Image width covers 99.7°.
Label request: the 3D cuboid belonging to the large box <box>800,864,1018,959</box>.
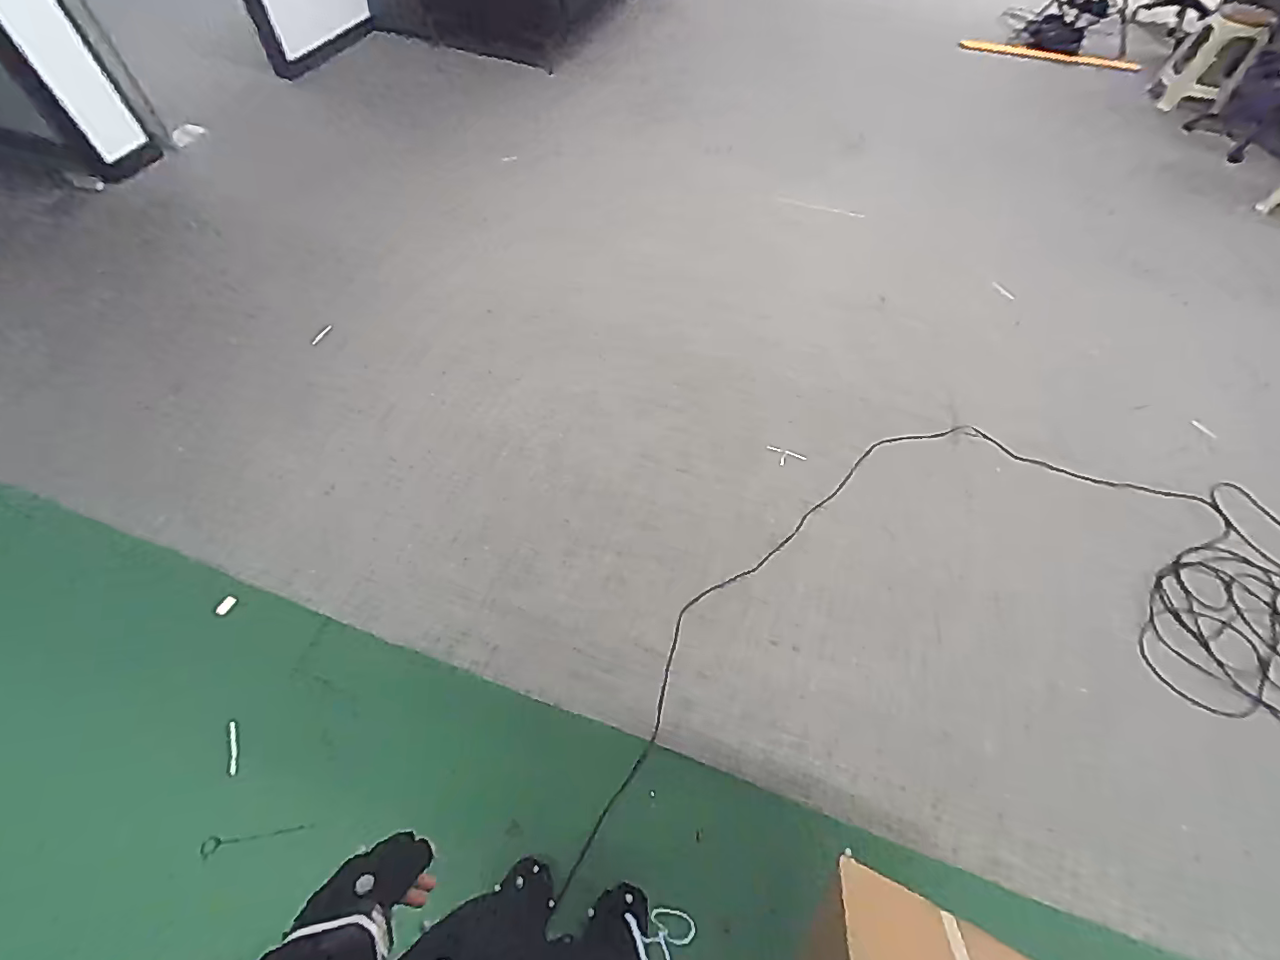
[{"bbox_3d":[0.337,0.779,0.617,0.320,0.408,0.320,23,93,16],"label":"large box"}]
